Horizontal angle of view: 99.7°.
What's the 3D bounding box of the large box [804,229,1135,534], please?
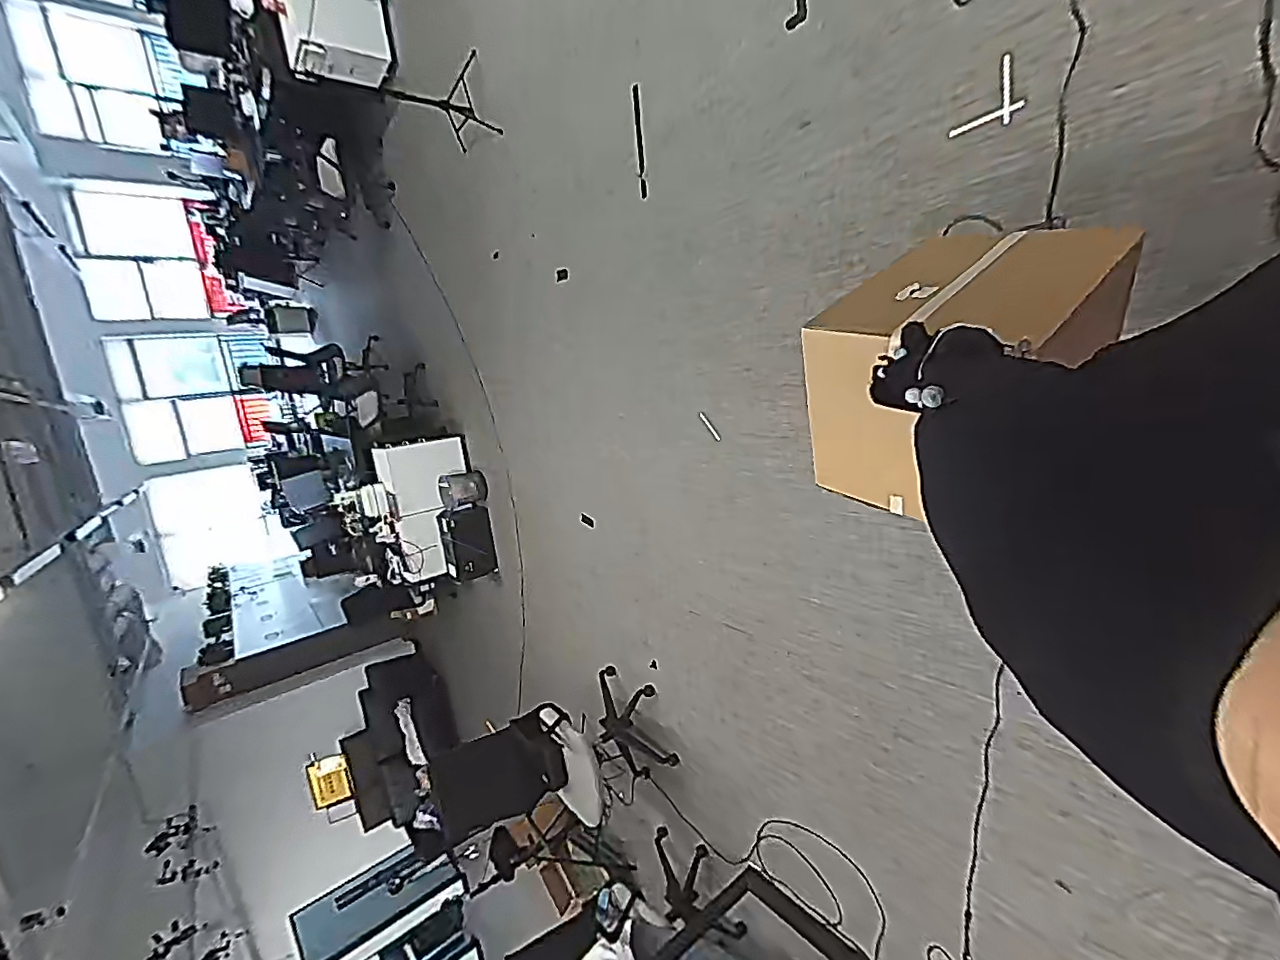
[{"bbox_3d":[0.531,-0.185,0.900,0.320,0.408,0.320,24,144,46],"label":"large box"}]
